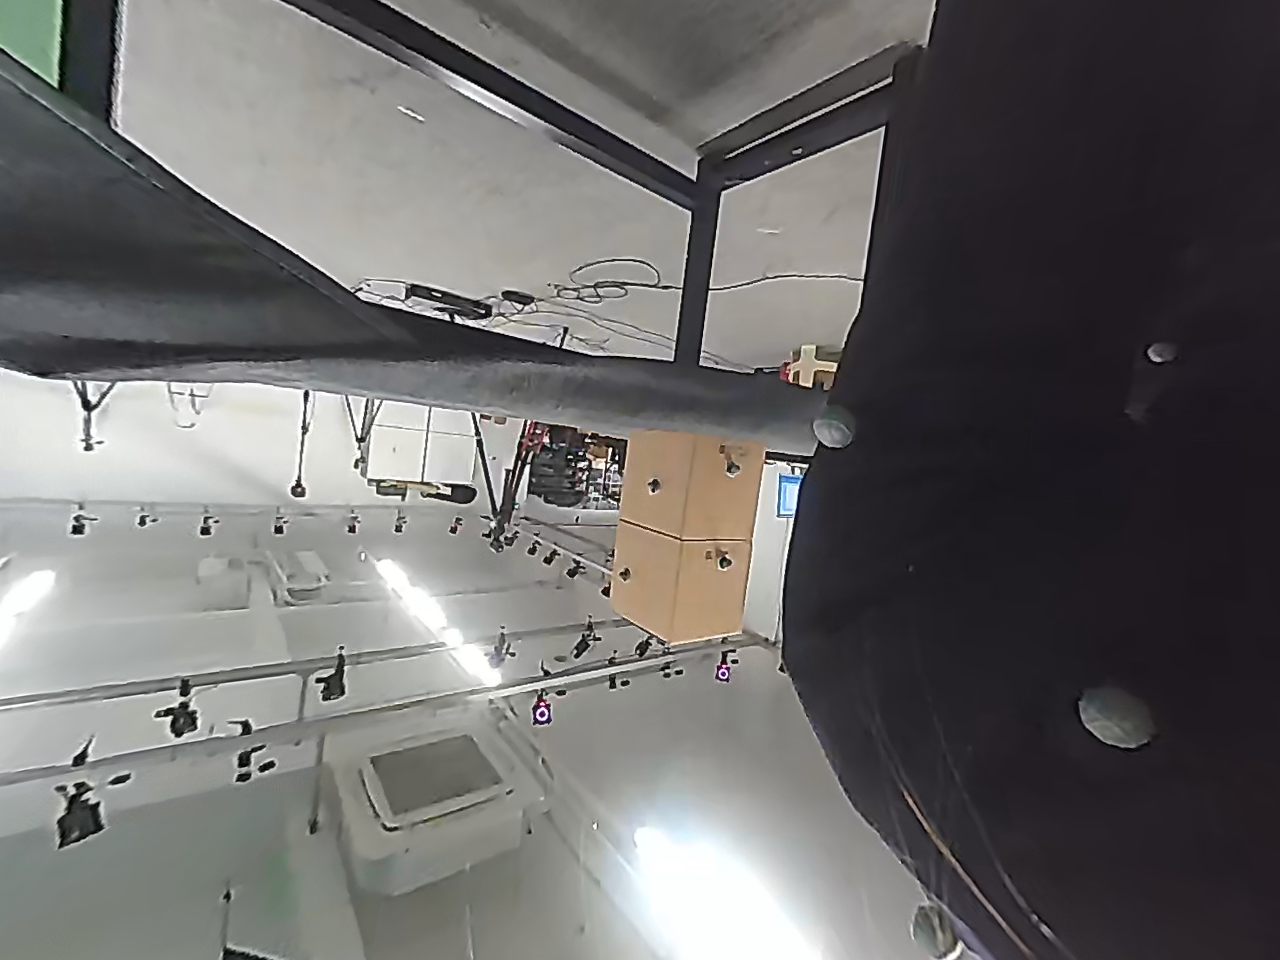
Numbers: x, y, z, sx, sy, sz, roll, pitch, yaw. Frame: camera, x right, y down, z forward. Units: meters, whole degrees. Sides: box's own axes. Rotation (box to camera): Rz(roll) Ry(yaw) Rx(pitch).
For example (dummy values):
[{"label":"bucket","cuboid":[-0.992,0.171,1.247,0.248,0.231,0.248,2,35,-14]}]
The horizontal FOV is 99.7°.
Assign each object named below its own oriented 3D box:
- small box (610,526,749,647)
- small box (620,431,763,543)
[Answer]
[{"label":"small box","cuboid":[0.070,0.169,0.934,0.168,0.176,0.179,3,-176,-36]},{"label":"small box","cuboid":[0.089,0.008,0.925,0.168,0.176,0.179,4,-176,-37]}]
